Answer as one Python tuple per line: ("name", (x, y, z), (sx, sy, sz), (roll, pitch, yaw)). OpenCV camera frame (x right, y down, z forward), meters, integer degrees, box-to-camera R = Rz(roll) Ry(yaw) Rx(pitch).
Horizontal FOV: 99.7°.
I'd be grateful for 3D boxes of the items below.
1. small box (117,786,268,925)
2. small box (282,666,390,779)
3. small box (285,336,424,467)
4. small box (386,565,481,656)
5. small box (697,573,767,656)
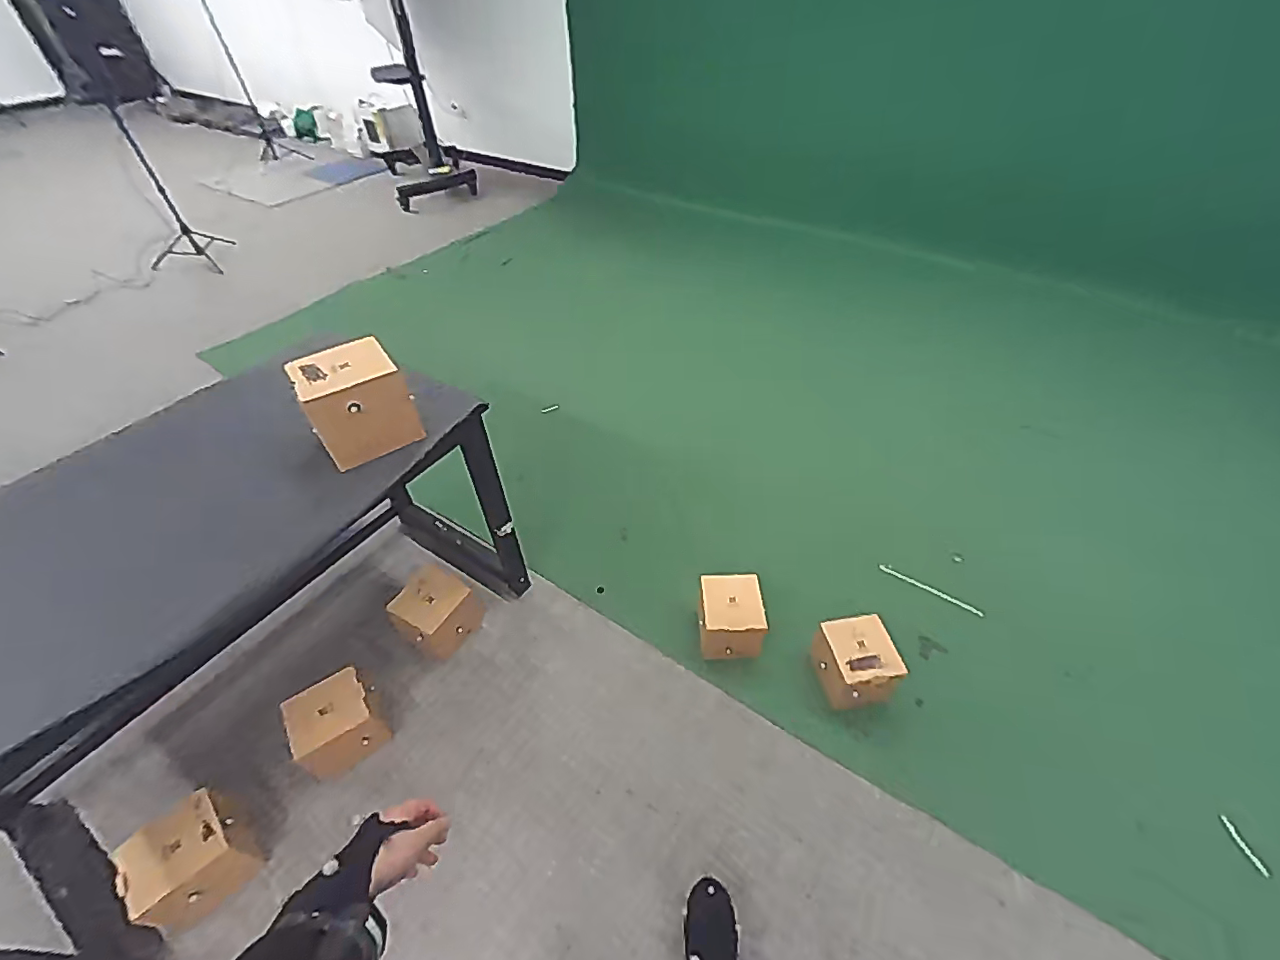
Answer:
("small box", (-0.960, 0.815, 1.170), (0.179, 0.176, 0.168), (-36, 55, -28))
("small box", (-0.755, 0.612, 1.362), (0.179, 0.176, 0.168), (-29, 51, -23))
("small box", (-0.563, -0.154, 1.078), (0.179, 0.176, 0.168), (-28, 50, -22))
("small box", (-0.591, 0.386, 1.574), (0.179, 0.176, 0.168), (21, 49, 20))
("small box", (0.259, 0.389, 1.562), (0.168, 0.176, 0.179), (-2, 47, -1))
